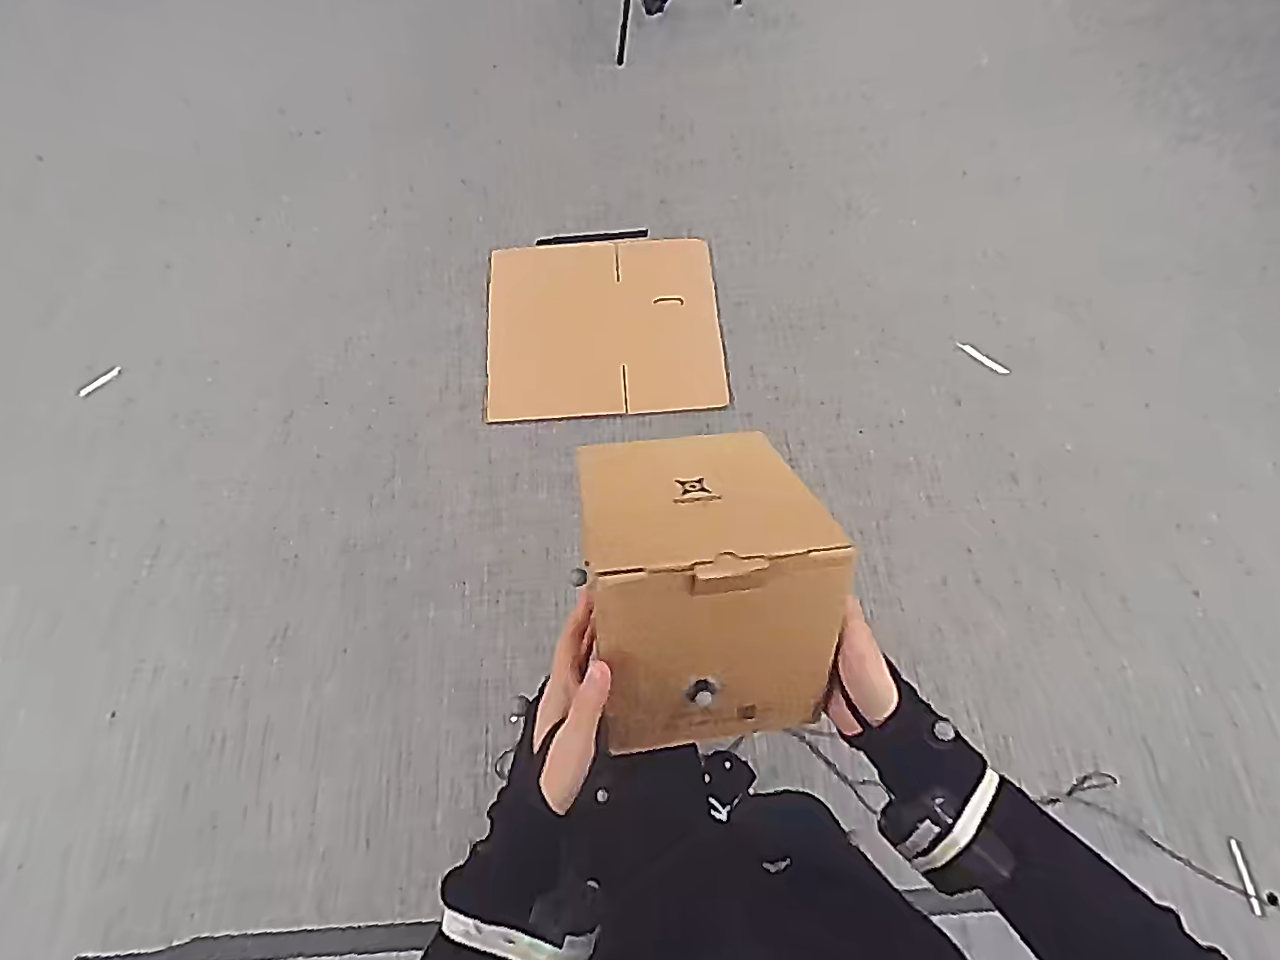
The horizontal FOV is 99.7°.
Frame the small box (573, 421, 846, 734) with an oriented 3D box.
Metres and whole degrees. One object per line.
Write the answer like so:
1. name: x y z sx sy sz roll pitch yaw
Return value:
1. small box: 0.037 0.068 0.435 0.168 0.176 0.179 -7 31 -7
